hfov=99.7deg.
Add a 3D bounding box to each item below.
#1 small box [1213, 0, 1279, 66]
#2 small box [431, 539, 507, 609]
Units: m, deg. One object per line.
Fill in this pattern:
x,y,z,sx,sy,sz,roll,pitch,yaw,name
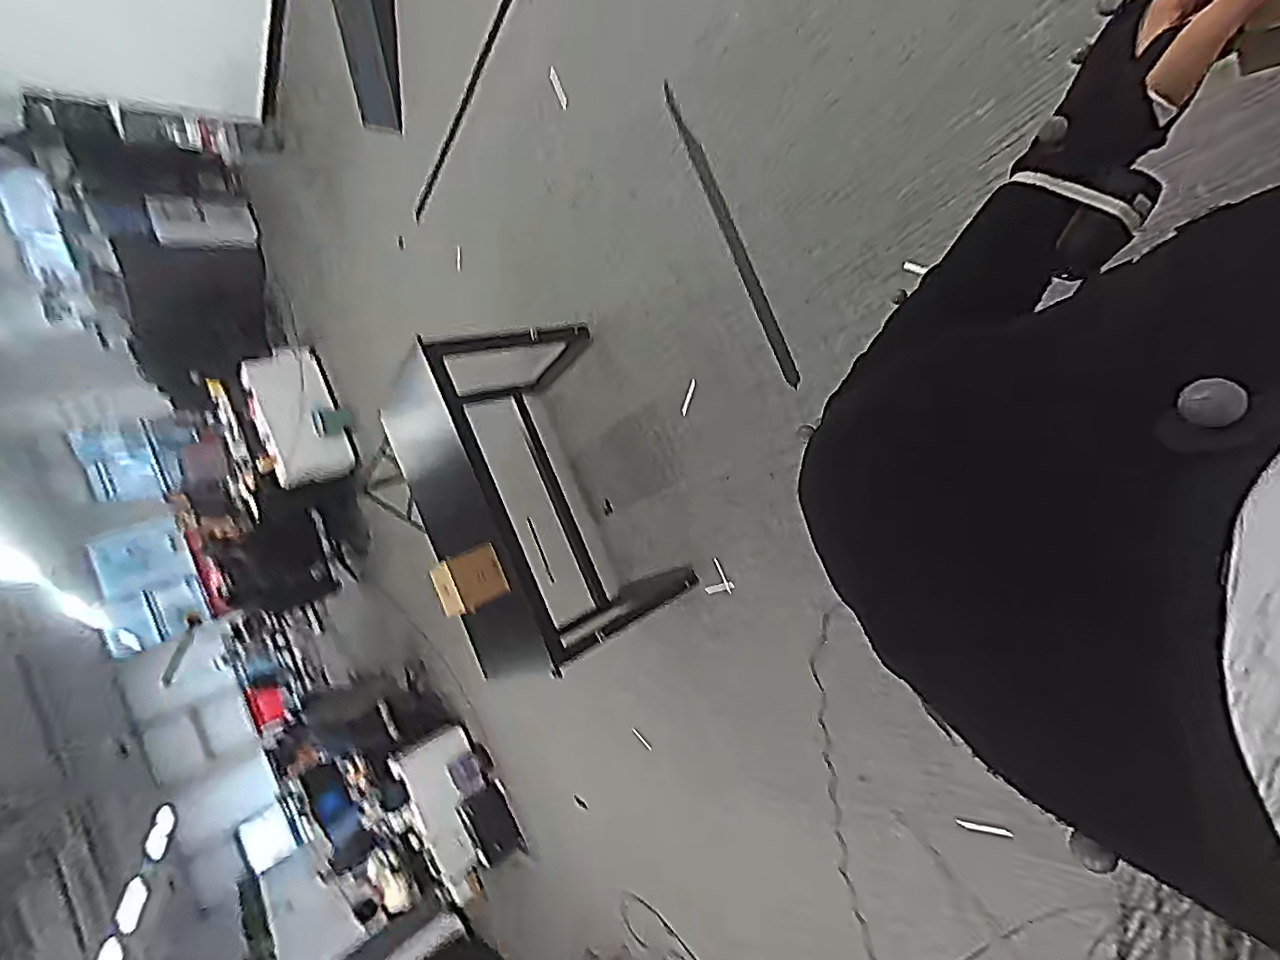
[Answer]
0.443,-0.355,0.285,0.179,0.176,0.168,7,115,46,small box
-0.563,0.310,1.800,0.179,0.176,0.168,-27,85,49,small box
